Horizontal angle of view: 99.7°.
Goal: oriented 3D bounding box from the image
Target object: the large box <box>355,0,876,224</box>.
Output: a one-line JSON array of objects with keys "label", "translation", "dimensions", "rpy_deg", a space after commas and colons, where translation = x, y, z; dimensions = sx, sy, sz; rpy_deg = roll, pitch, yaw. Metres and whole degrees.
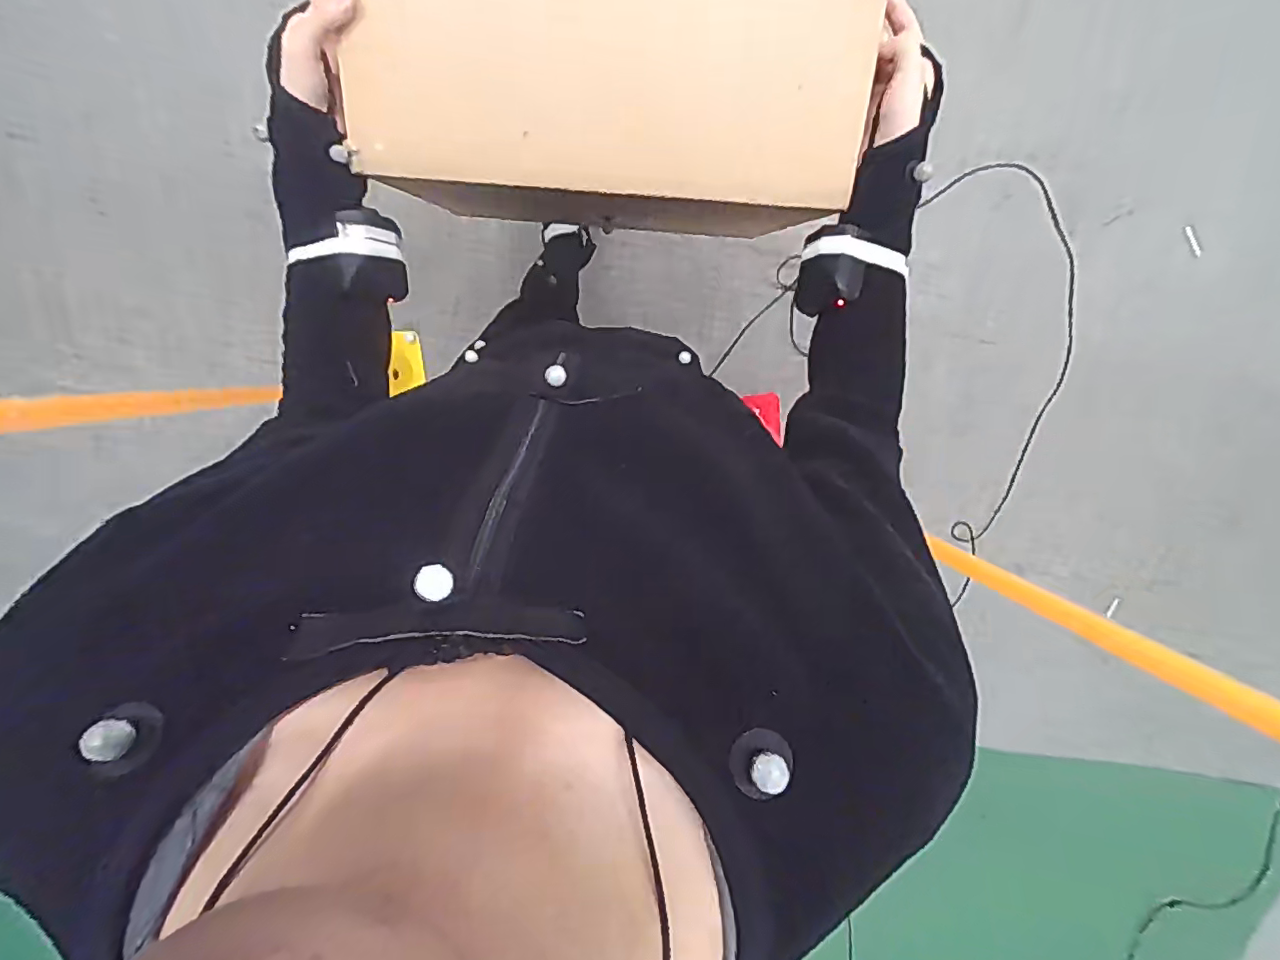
[{"label": "large box", "translation": [-0.018, -0.444, 0.540], "dimensions": [0.408, 0.320, 0.320], "rpy_deg": [2, 110, -4]}]
